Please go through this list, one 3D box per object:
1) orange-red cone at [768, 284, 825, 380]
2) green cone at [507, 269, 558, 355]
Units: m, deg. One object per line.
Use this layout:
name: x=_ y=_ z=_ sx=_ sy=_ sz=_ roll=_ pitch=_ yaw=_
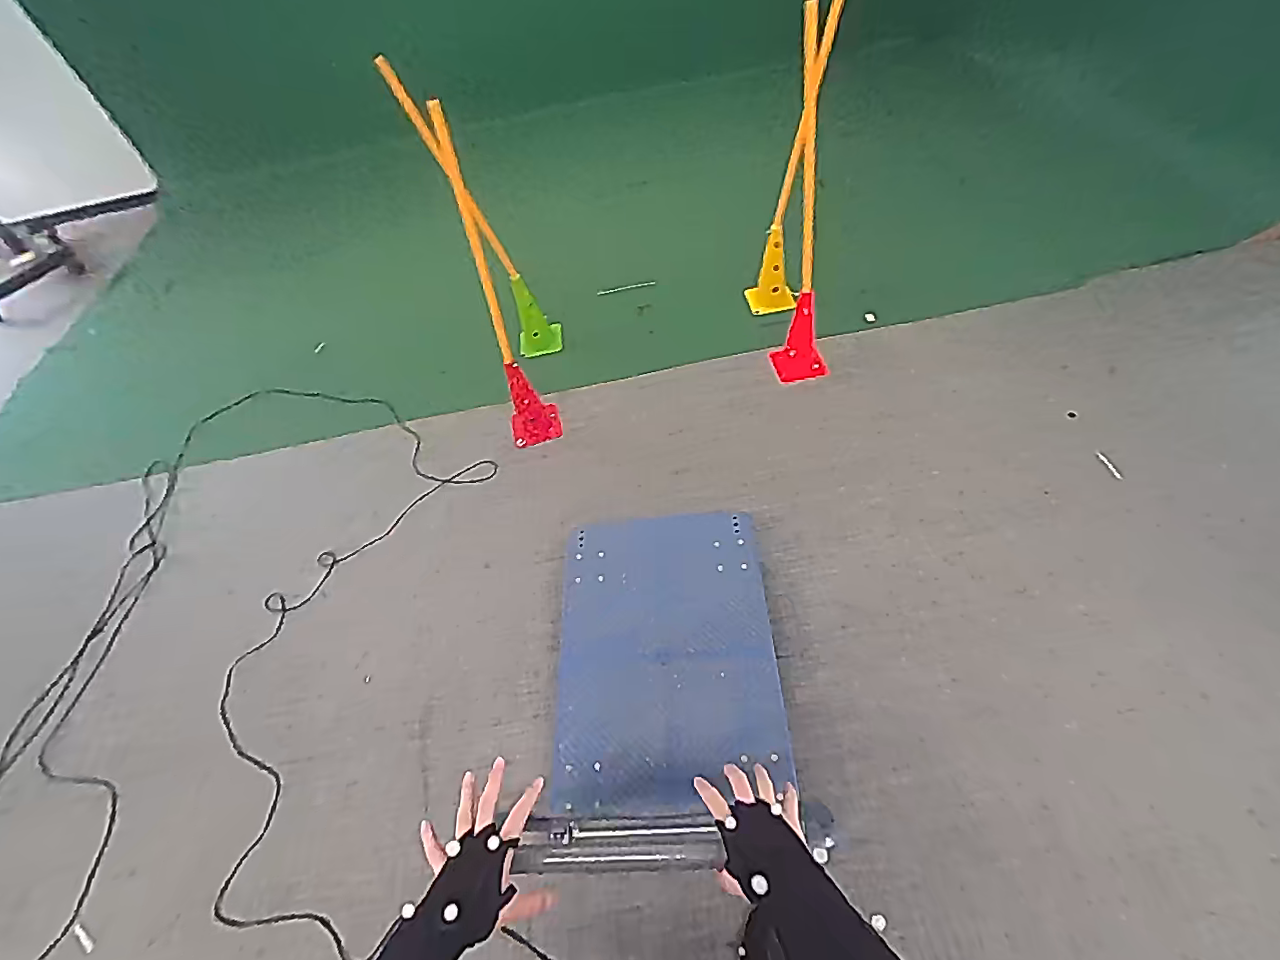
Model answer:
orange-red cone: x=0.623 y=-0.596 z=2.106 sx=0.198 sy=0.360 sz=0.199 roll=-11 pitch=51 yaw=1
green cone: x=-0.511 y=-0.771 z=2.423 sx=0.200 sy=0.368 sz=0.202 roll=-12 pitch=52 yaw=2
